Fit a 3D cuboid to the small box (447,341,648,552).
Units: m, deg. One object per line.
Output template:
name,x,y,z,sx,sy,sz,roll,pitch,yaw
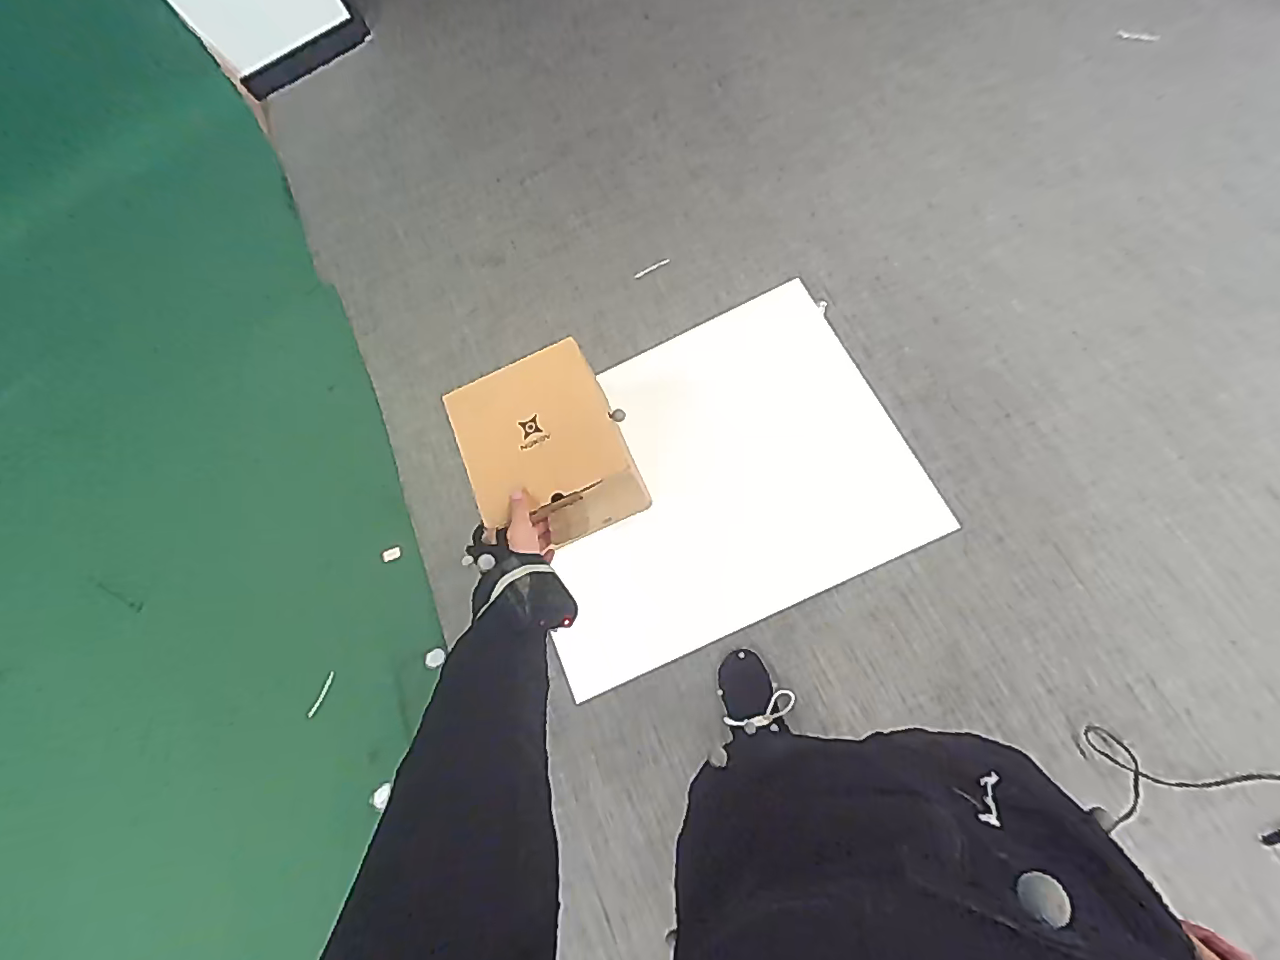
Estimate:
small box,-0.102,-0.030,0.659,0.168,0.176,0.179,-24,72,1
